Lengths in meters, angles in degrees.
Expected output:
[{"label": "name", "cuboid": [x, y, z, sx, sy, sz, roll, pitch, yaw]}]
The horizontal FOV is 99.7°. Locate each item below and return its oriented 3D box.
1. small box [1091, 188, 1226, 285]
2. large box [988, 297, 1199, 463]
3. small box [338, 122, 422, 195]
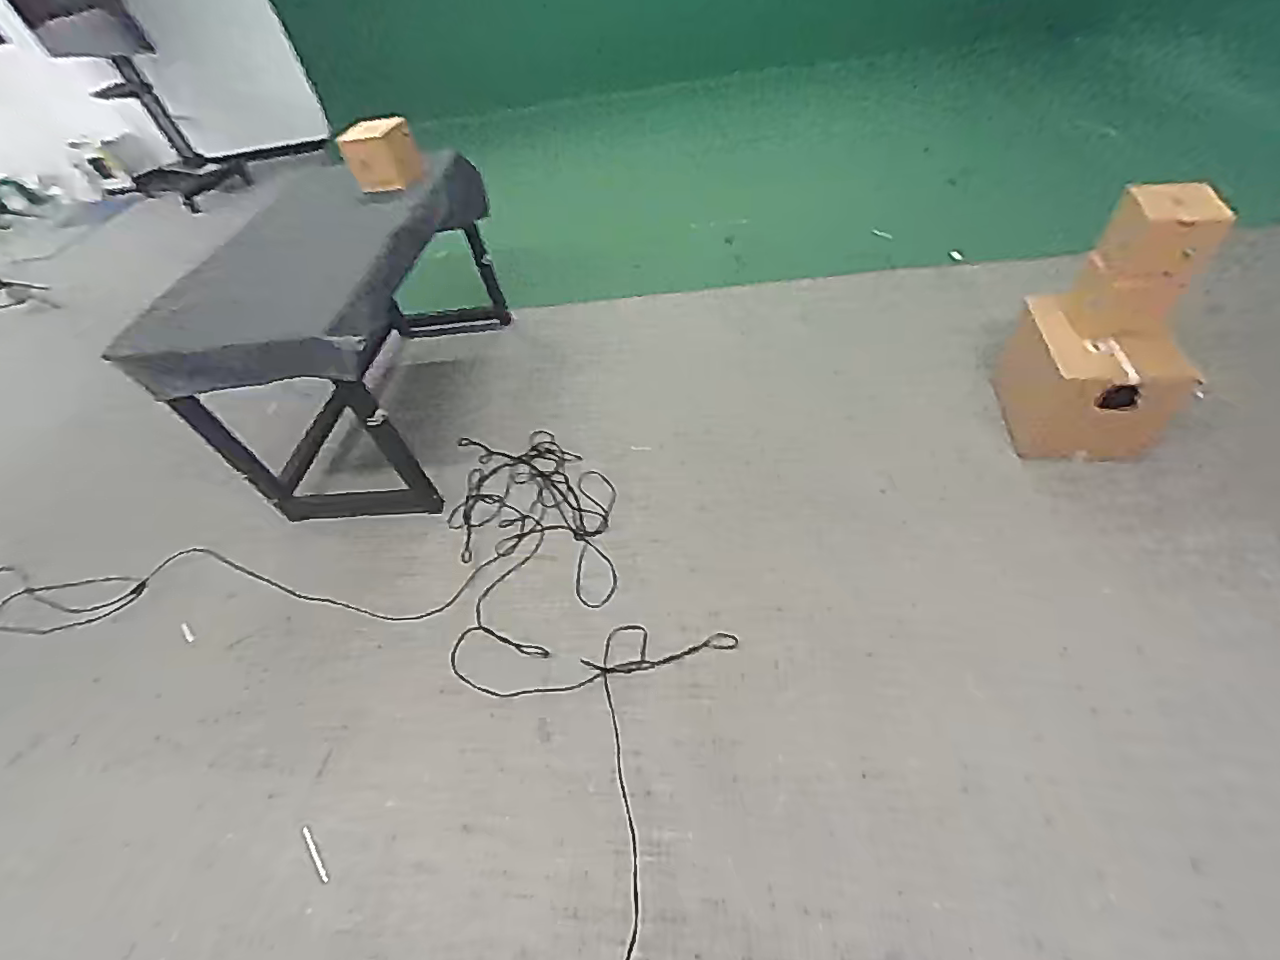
[{"label": "small box", "cuboid": [1.279, -0.605, 1.352, 0.168, 0.176, 0.179, 7, 51, 14]}, {"label": "large box", "cuboid": [1.313, -0.301, 1.627, 0.320, 0.320, 0.408, 1, 51, 13]}, {"label": "small box", "cuboid": [-0.882, -1.099, 1.858, 0.168, 0.176, 0.179, 2, 50, 13]}]
